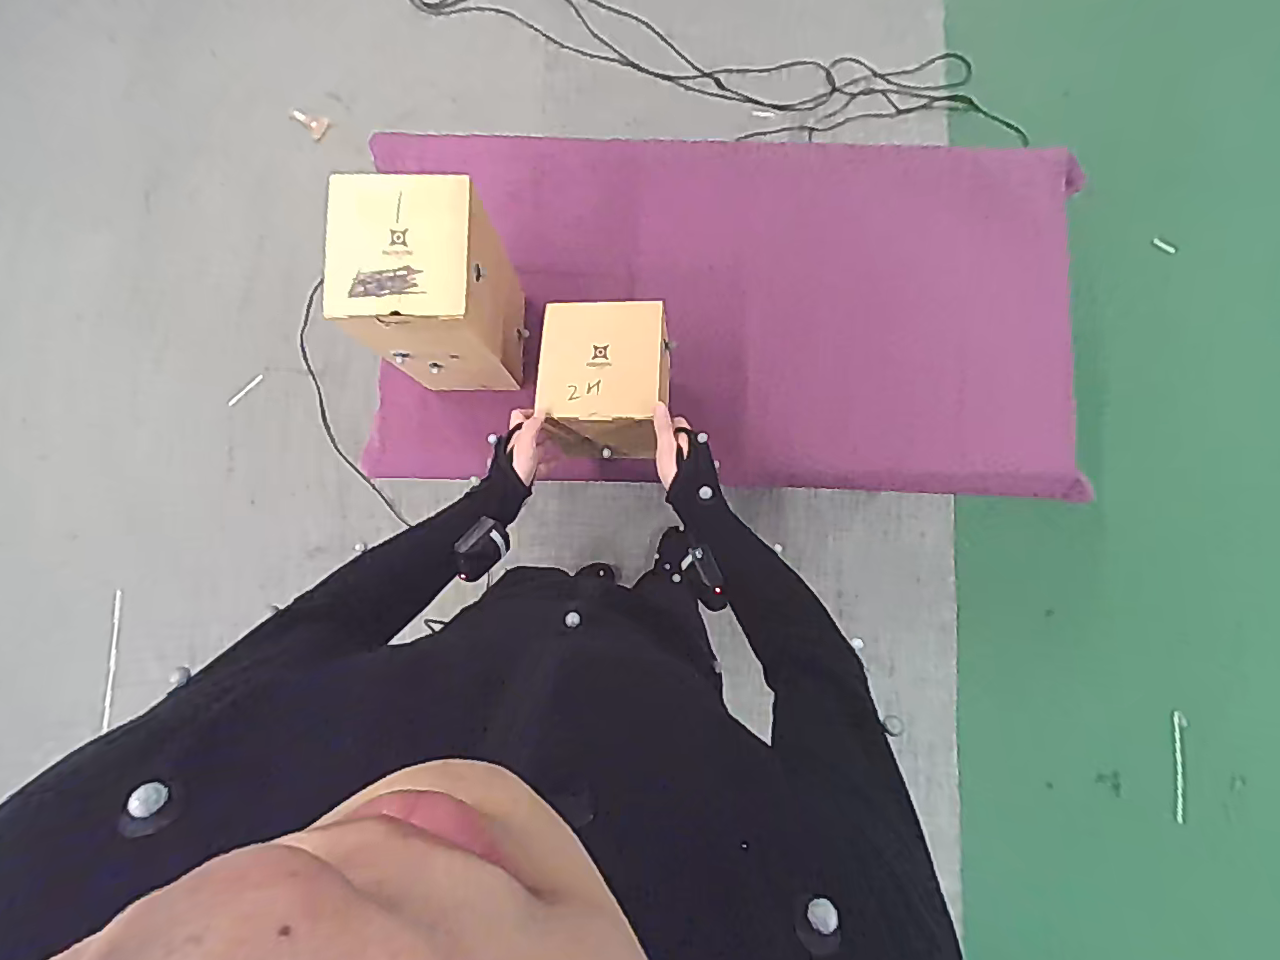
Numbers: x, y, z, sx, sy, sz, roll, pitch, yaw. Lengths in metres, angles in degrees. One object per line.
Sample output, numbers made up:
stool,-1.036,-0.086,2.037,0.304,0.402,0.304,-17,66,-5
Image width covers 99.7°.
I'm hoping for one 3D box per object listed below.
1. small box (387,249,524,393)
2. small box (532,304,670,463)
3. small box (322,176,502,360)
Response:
small box,-0.286,-0.249,0.870,0.168,0.176,0.179,0,84,0
small box,-0.046,-0.136,0.795,0.168,0.176,0.179,2,74,8
small box,-0.283,-0.263,0.705,0.168,0.176,0.179,0,84,-1
